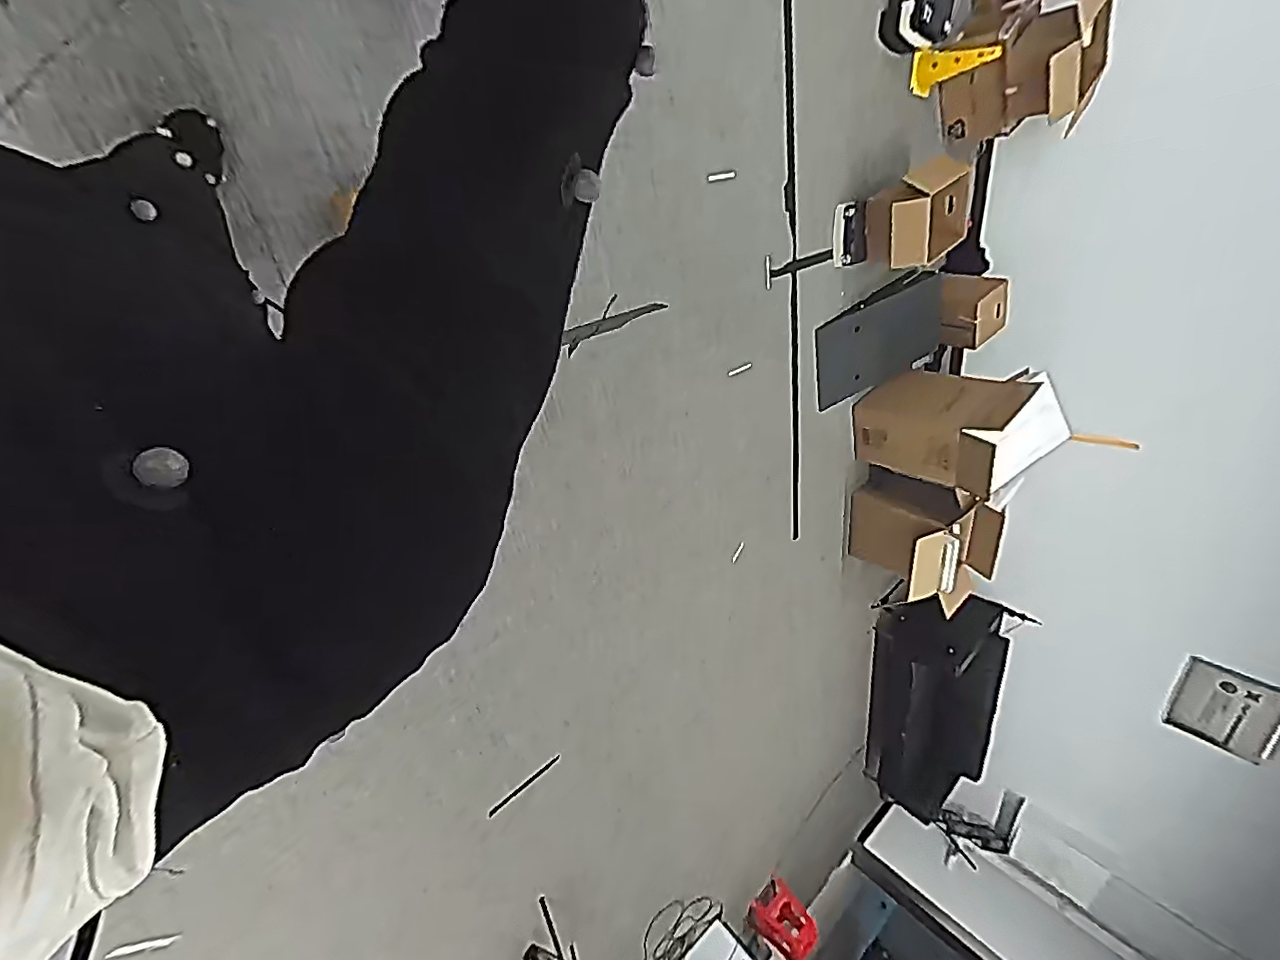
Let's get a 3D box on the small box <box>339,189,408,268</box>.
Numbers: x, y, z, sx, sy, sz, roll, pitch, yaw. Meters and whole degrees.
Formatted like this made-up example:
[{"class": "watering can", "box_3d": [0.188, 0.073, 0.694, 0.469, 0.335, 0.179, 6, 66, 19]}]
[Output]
[{"class": "small box", "box_3d": [-0.623, -0.641, 1.363, 0.179, 0.176, 0.168, -30, 125, -29]}]
